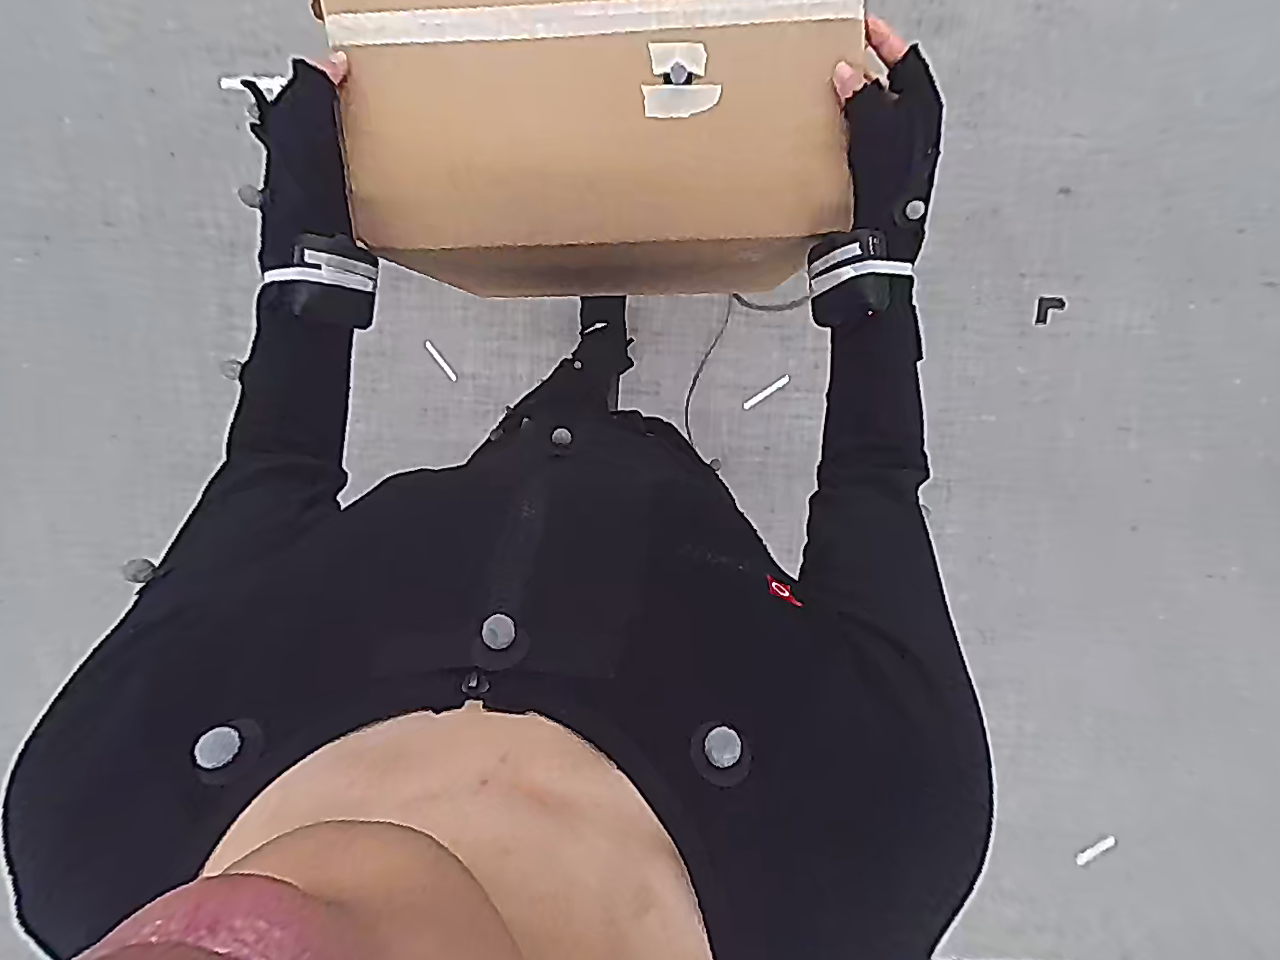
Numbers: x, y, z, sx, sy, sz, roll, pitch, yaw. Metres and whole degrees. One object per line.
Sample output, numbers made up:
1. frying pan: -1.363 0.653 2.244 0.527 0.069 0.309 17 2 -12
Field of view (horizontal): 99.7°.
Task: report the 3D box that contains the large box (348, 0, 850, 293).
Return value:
1. large box: -0.032 -0.388 0.573 0.408 0.320 0.320 -1 102 2
